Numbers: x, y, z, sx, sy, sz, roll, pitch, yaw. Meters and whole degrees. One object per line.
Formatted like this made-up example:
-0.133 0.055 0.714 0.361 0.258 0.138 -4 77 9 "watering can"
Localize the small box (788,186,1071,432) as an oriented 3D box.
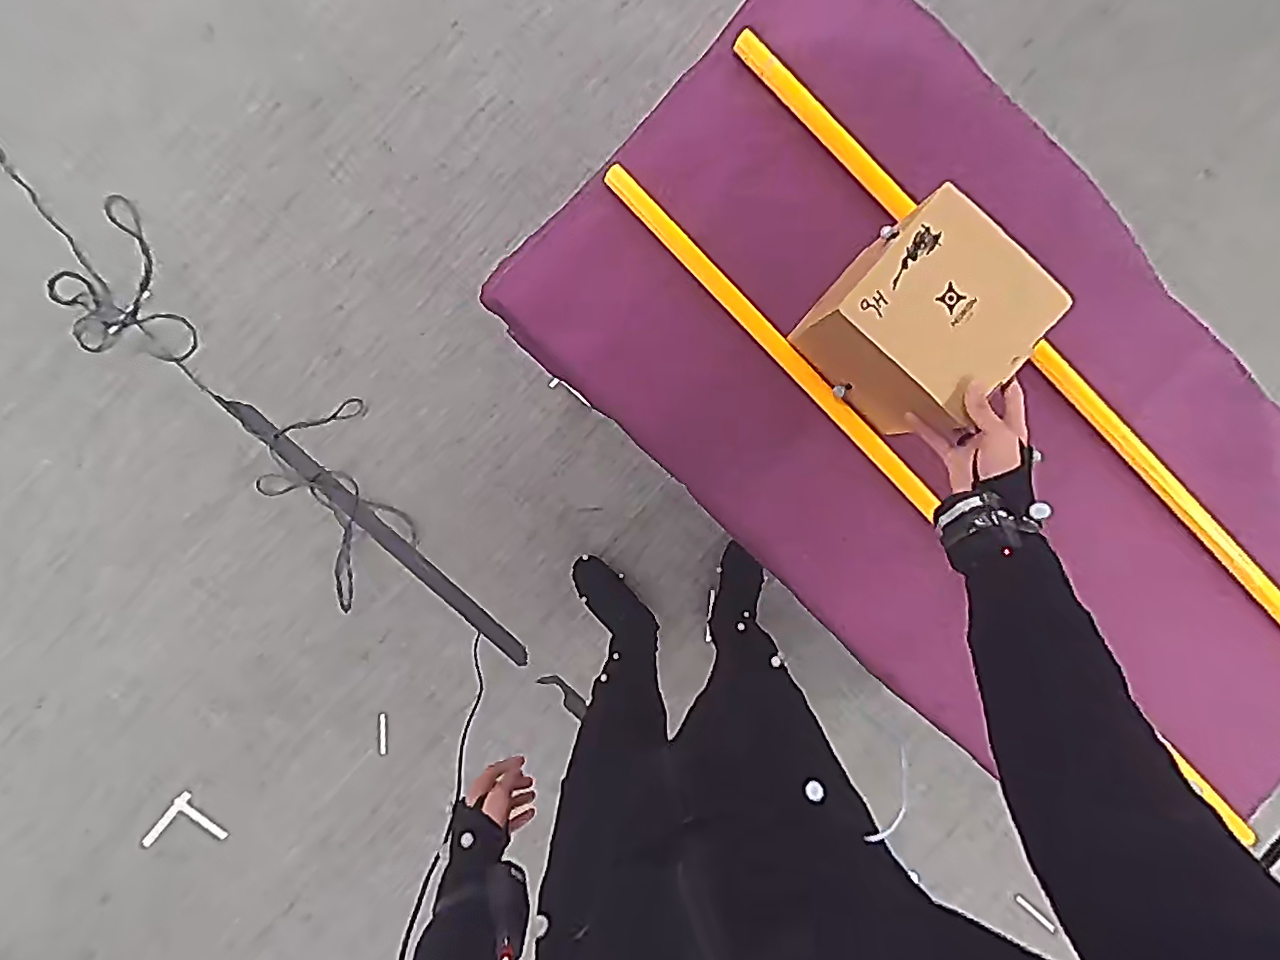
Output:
0.299 -0.169 0.598 0.179 0.176 0.168 42 90 -5 "small box"
